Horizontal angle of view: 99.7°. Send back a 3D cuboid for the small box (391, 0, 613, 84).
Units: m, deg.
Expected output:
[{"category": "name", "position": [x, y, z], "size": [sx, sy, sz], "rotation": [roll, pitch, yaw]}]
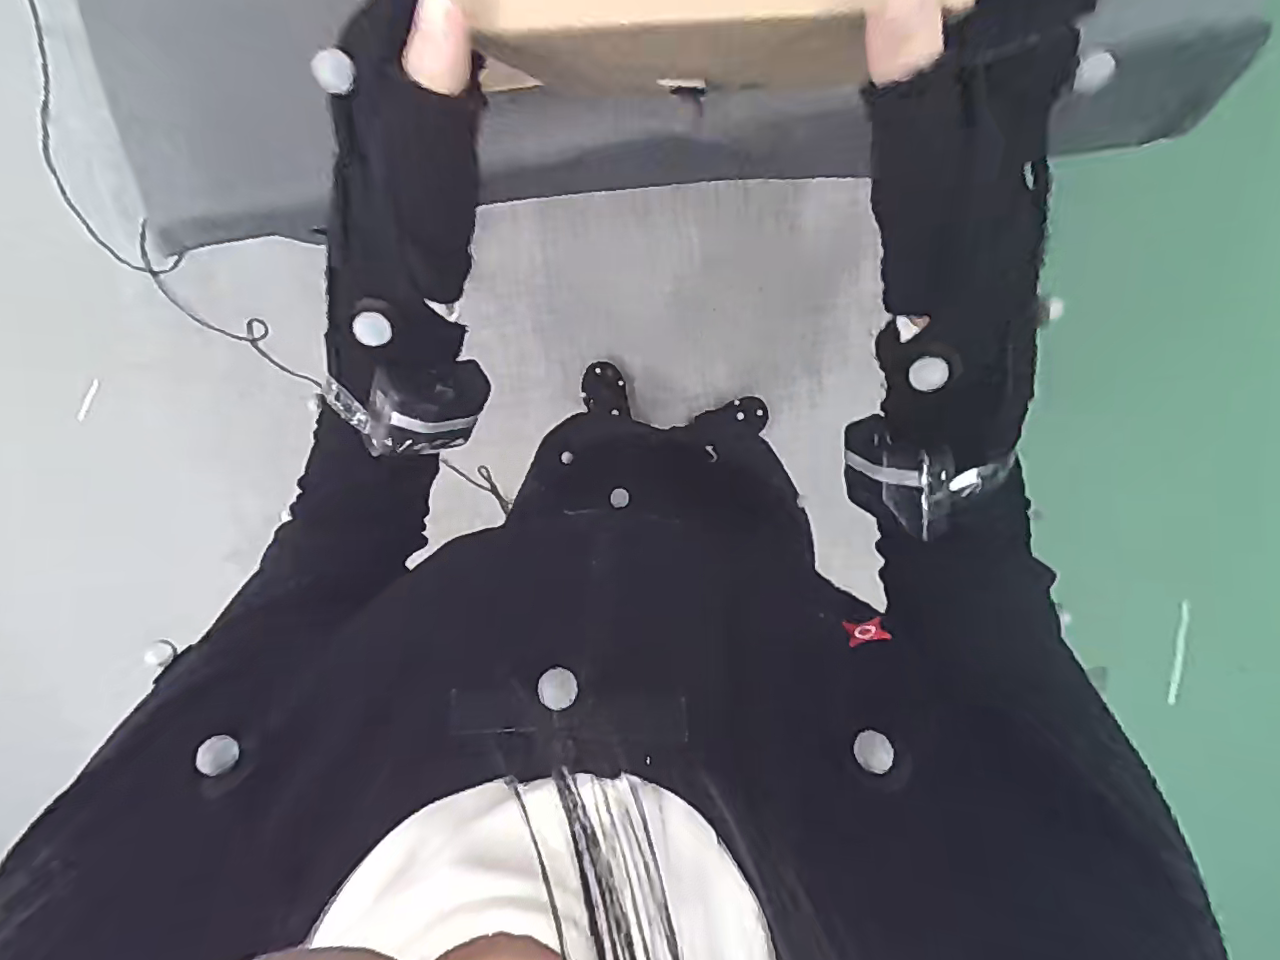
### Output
[{"category": "small box", "position": [-0.126, -0.488, 0.484], "size": [0.179, 0.176, 0.168], "rotation": [-3, 104, 5]}]
